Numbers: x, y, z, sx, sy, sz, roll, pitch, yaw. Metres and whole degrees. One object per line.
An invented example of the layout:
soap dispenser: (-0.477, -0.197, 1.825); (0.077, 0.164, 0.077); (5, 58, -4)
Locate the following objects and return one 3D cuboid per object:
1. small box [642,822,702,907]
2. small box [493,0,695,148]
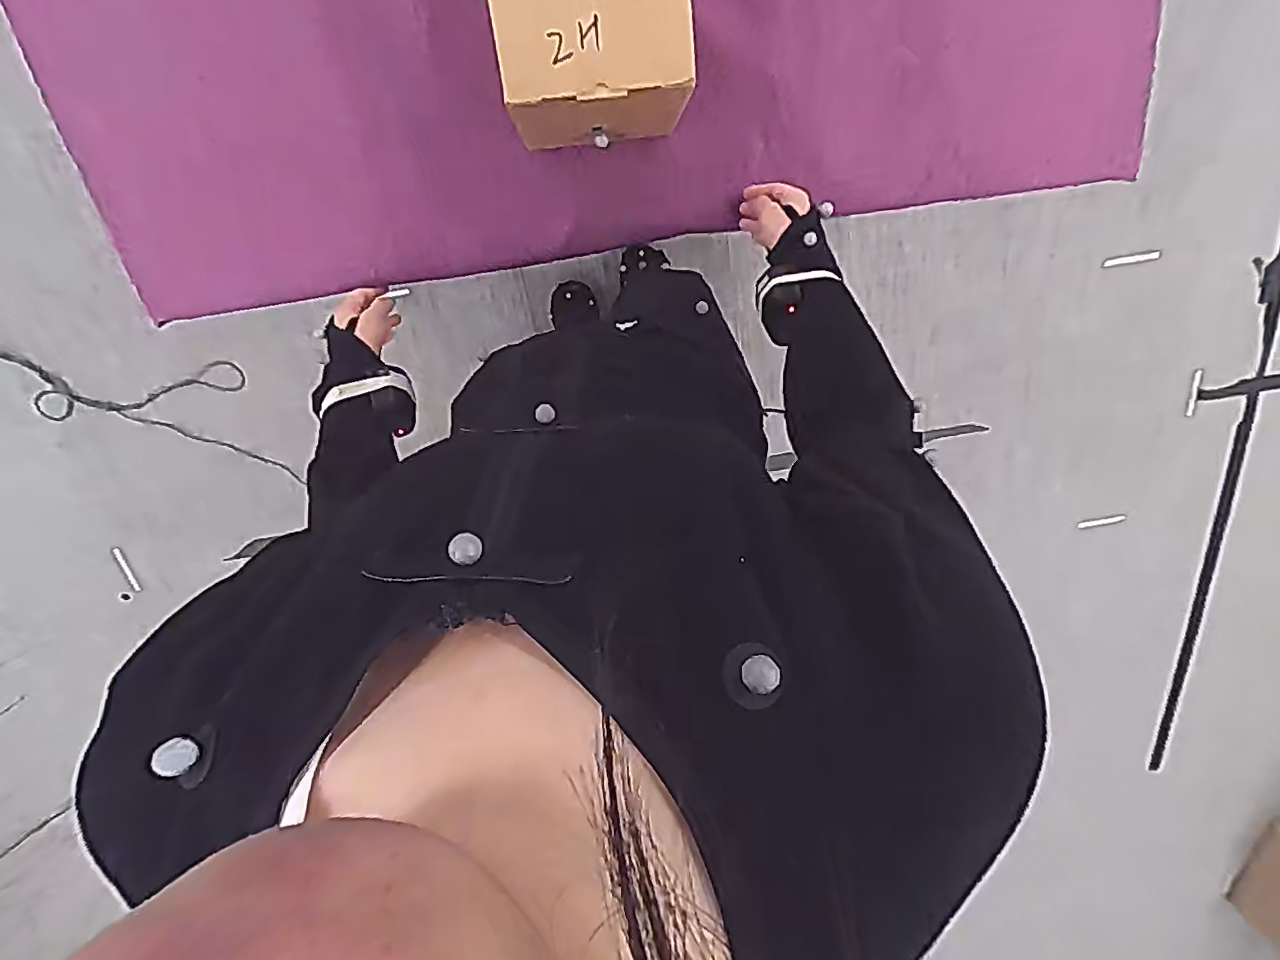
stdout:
small box: (0.114, 1.405, 1.981); (0.168, 0.176, 0.179); (-19, 111, 1)
small box: (-0.048, -0.439, 0.510); (0.168, 0.176, 0.179); (-7, 111, -2)
